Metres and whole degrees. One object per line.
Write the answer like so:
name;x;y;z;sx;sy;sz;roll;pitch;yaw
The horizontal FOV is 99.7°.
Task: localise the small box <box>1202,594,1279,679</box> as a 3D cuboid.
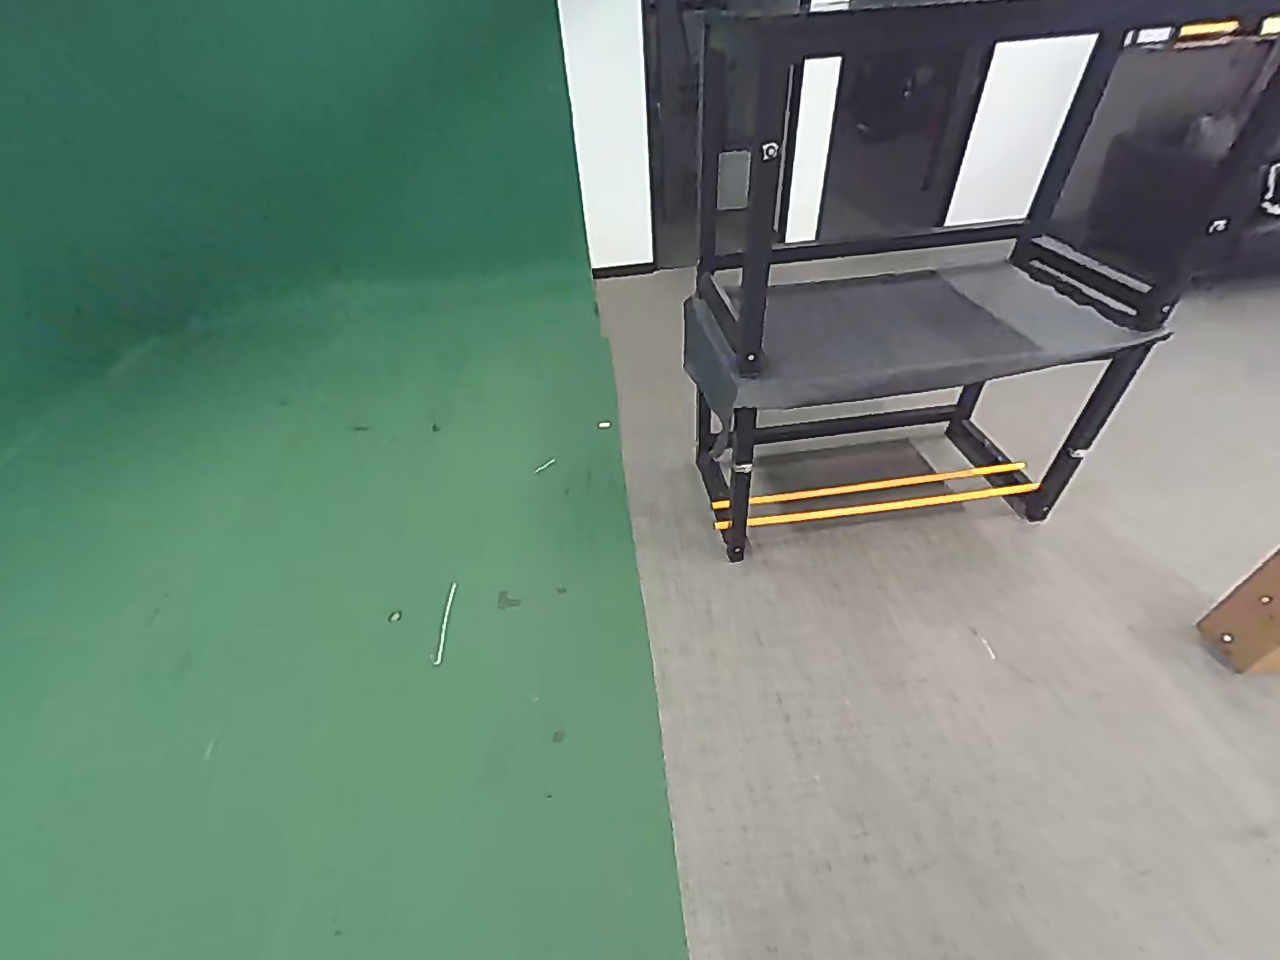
small box;1.743;0.432;1.493;0.179;0.176;0.168;-3;41;2
